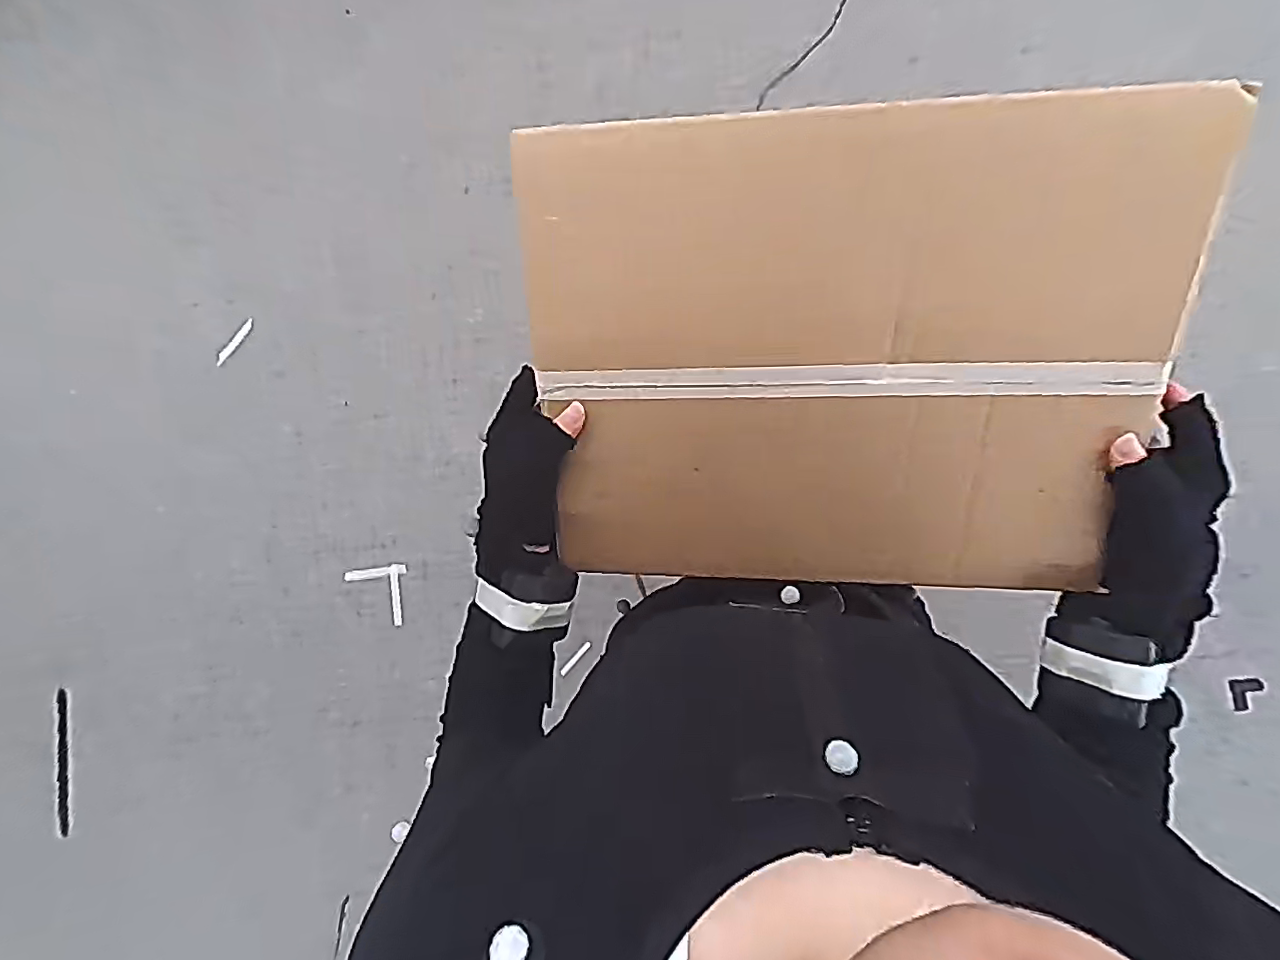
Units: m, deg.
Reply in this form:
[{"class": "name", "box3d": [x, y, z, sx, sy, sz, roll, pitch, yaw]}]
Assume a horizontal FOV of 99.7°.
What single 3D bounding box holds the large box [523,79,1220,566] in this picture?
[{"class": "large box", "box3d": [0.143, -0.133, 0.511, 0.408, 0.320, 0.320, 1, 114, 7]}]
